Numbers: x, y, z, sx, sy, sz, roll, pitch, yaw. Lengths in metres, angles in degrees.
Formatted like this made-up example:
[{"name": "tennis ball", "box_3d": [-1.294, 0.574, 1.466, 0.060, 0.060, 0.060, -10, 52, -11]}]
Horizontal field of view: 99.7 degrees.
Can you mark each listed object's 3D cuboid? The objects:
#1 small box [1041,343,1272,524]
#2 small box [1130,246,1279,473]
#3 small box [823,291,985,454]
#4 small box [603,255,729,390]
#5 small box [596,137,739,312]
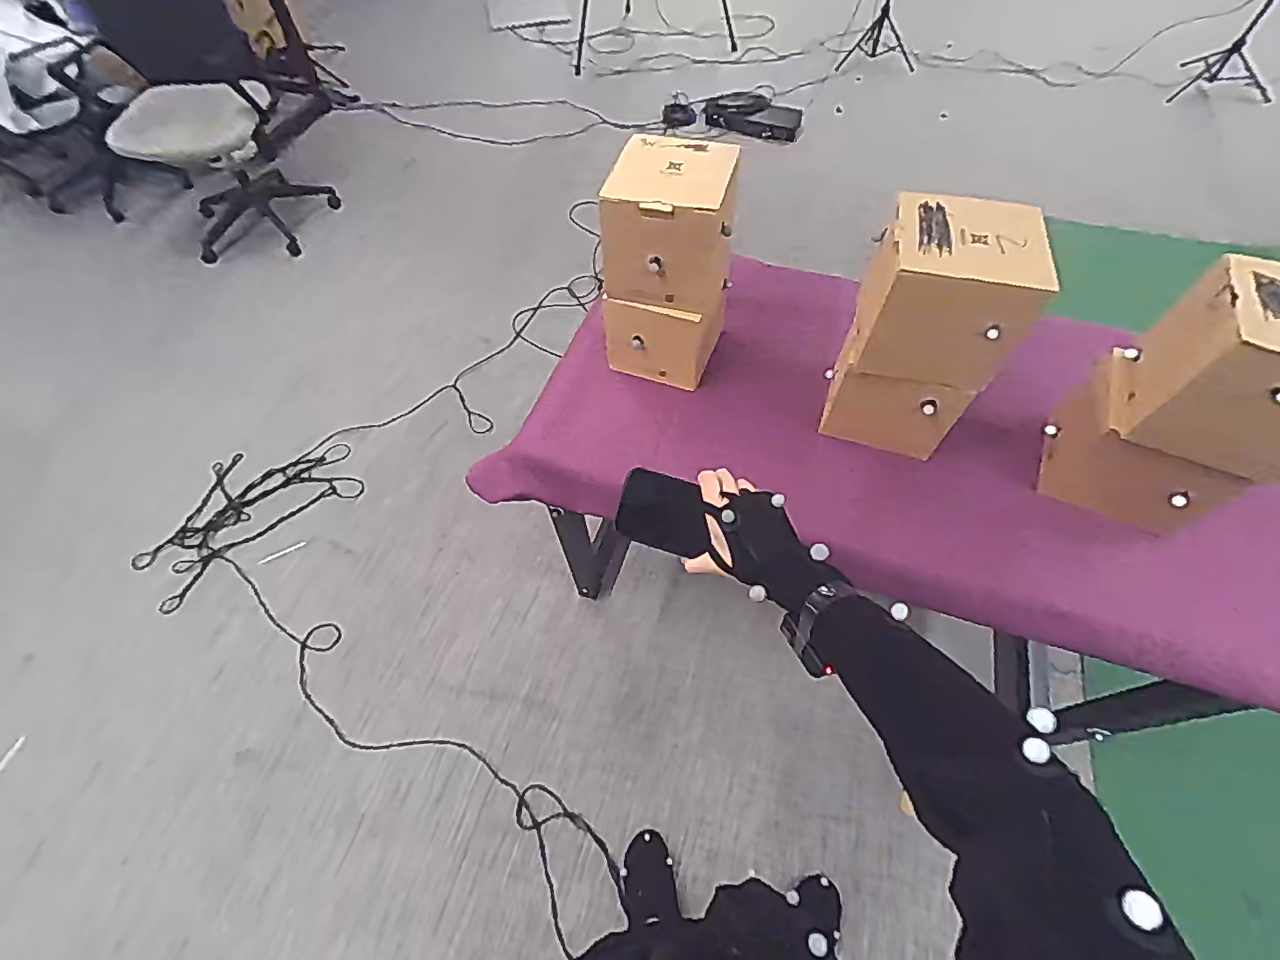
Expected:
[{"name": "small box", "box_3d": [0.721, -0.059, 0.771, 0.179, 0.176, 0.168, 22, 60, 16]}, {"name": "small box", "box_3d": [0.718, -0.133, 0.624, 0.179, 0.176, 0.168, 22, 60, 15]}, {"name": "small box", "box_3d": [0.408, -0.163, 0.853, 0.179, 0.176, 0.168, 16, 59, 13]}, {"name": "small box", "box_3d": [0.050, -0.285, 0.951, 0.168, 0.176, 0.179, 17, 59, 13]}, {"name": "small box", "box_3d": [0.046, -0.381, 0.818, 0.168, 0.176, 0.179, 13, 59, 10]}]
